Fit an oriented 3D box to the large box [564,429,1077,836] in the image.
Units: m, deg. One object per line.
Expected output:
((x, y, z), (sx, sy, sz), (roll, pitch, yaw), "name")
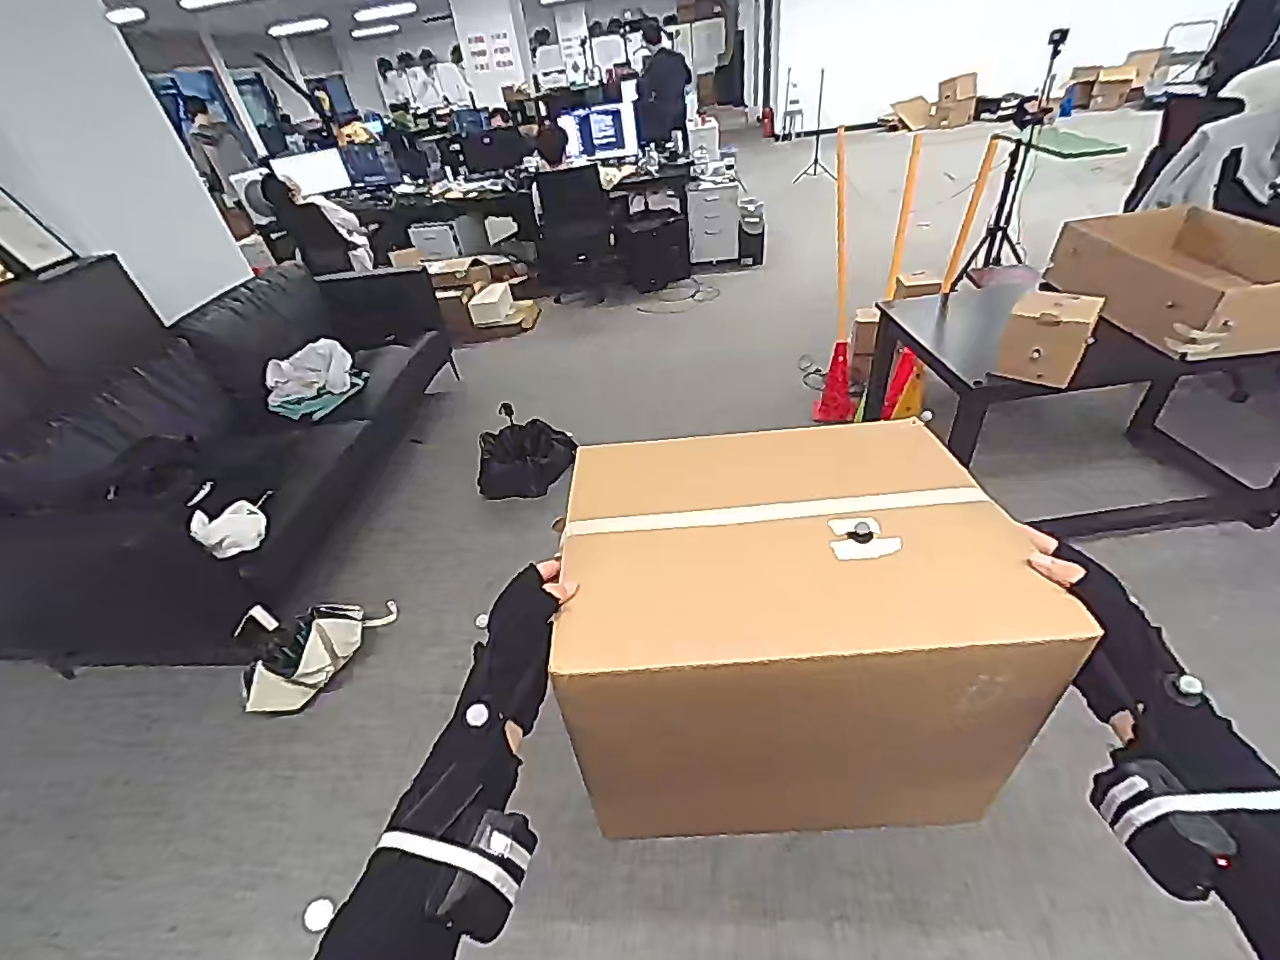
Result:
((0.143, 0.163, 0.618), (0.408, 0.320, 0.320), (-4, 36, 2), "large box")
